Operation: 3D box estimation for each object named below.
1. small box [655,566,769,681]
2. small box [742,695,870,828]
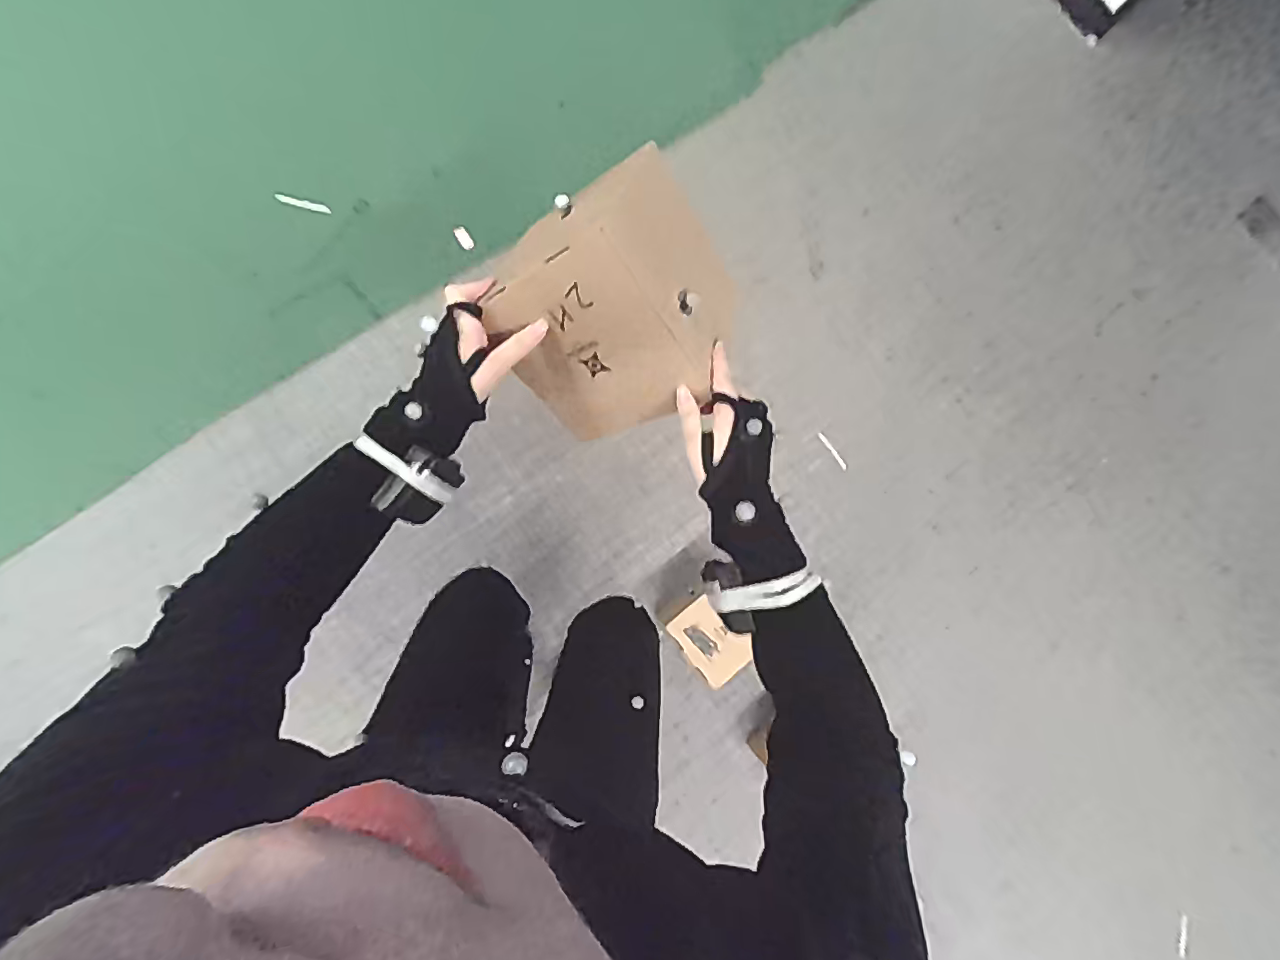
[{"bbox_3d":[0.147,0.306,1.189,0.179,0.176,0.168,-37,89,-9],"label":"small box"},{"bbox_3d":[0.350,0.595,1.180,0.168,0.176,0.179,-40,89,-8],"label":"small box"}]
